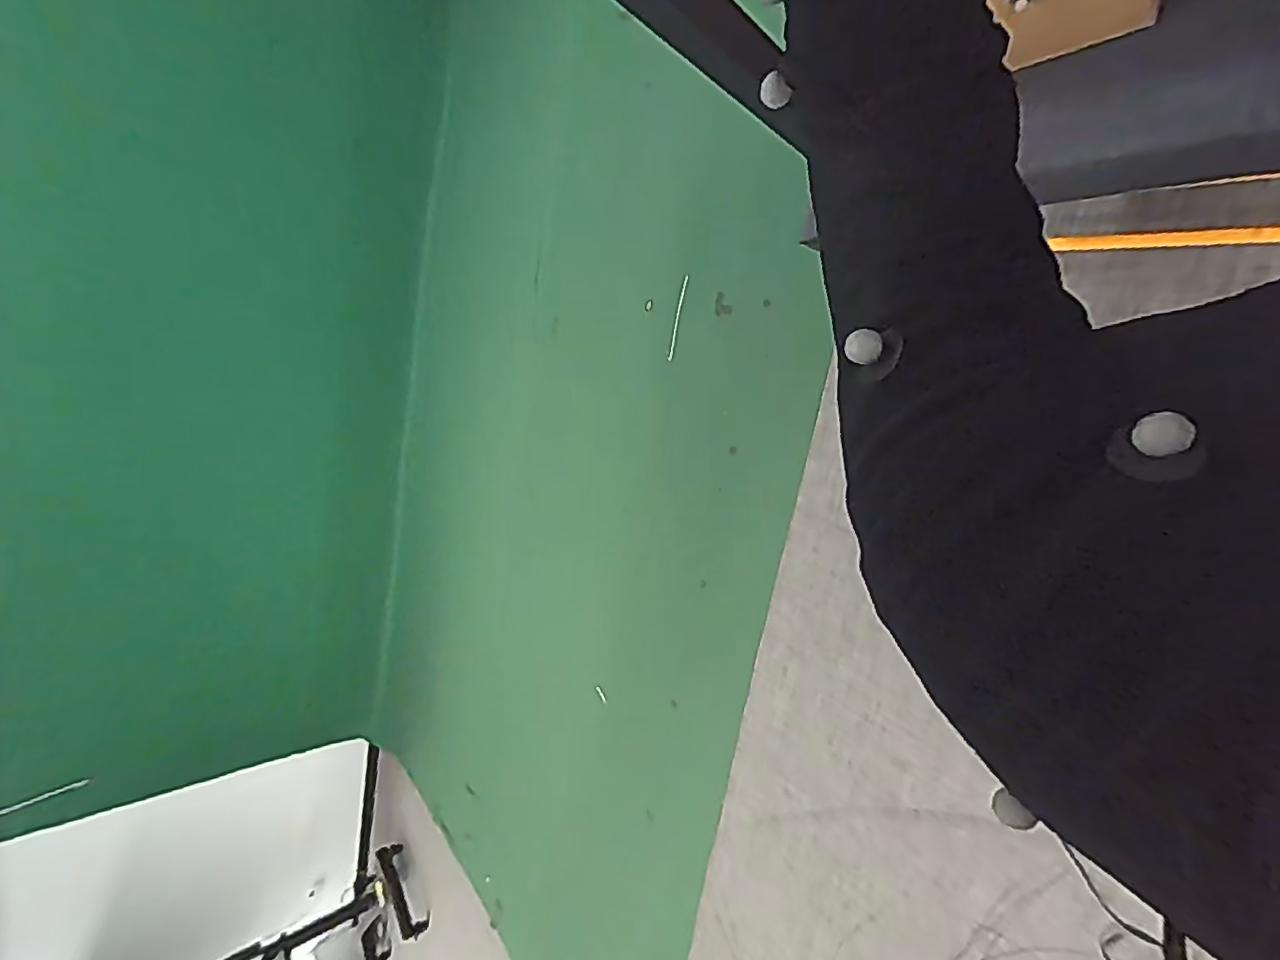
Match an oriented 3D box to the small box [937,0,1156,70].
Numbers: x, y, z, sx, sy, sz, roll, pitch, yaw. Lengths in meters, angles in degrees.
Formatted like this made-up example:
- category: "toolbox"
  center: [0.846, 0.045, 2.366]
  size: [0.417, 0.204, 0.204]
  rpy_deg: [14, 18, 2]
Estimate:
- category: "small box"
  center: [0.445, -0.592, 0.580]
  size: [0.179, 0.176, 0.168]
  rpy_deg: [13, 100, 45]
